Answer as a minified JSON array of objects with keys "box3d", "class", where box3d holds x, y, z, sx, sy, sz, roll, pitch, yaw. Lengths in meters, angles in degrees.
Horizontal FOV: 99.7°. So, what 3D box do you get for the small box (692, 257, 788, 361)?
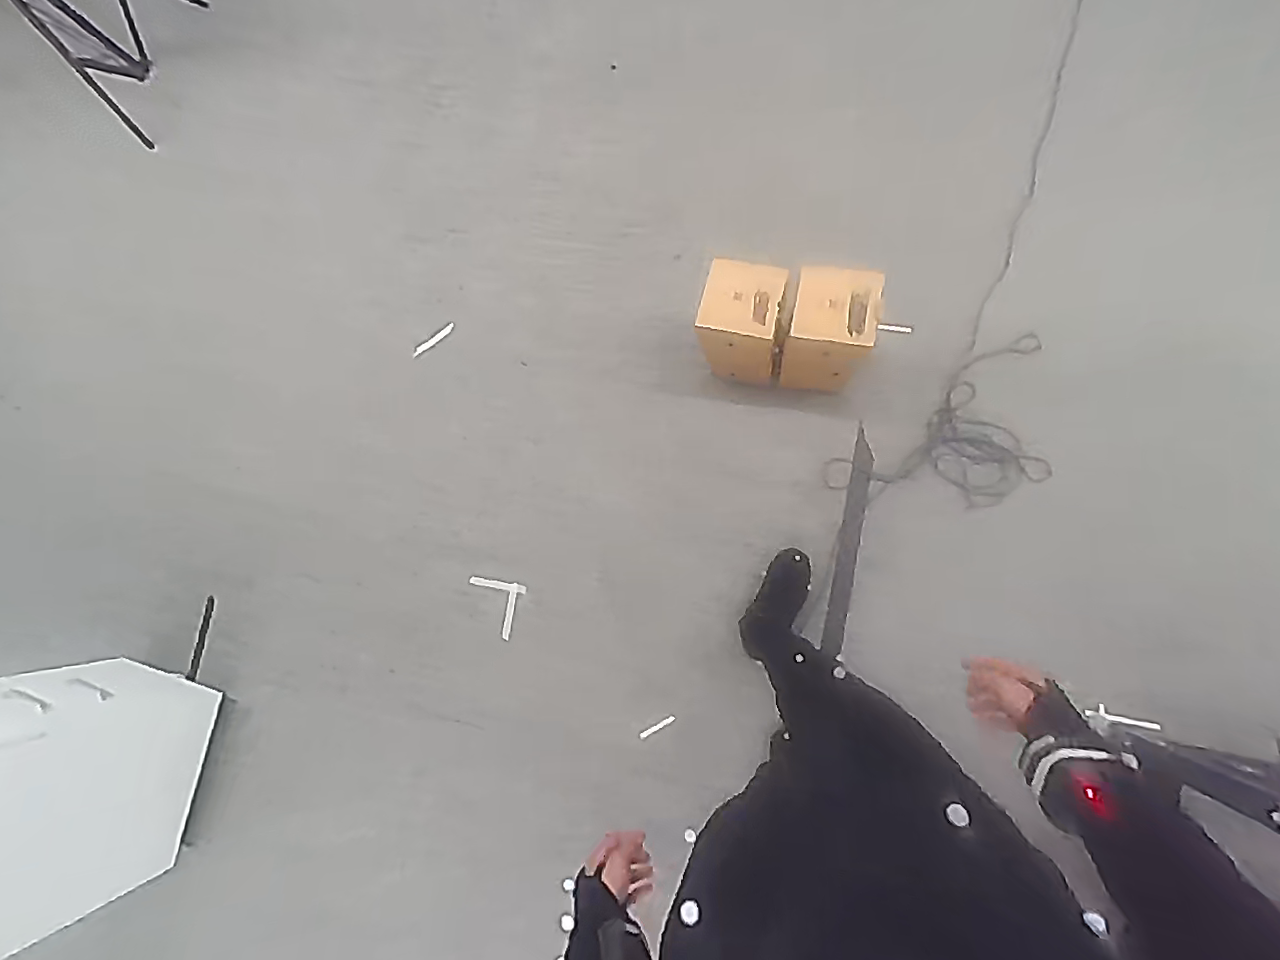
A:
[{"box3d":[0.234,-0.387,1.251,0.179,0.176,0.168,14,85,15],"class":"small box"}]
